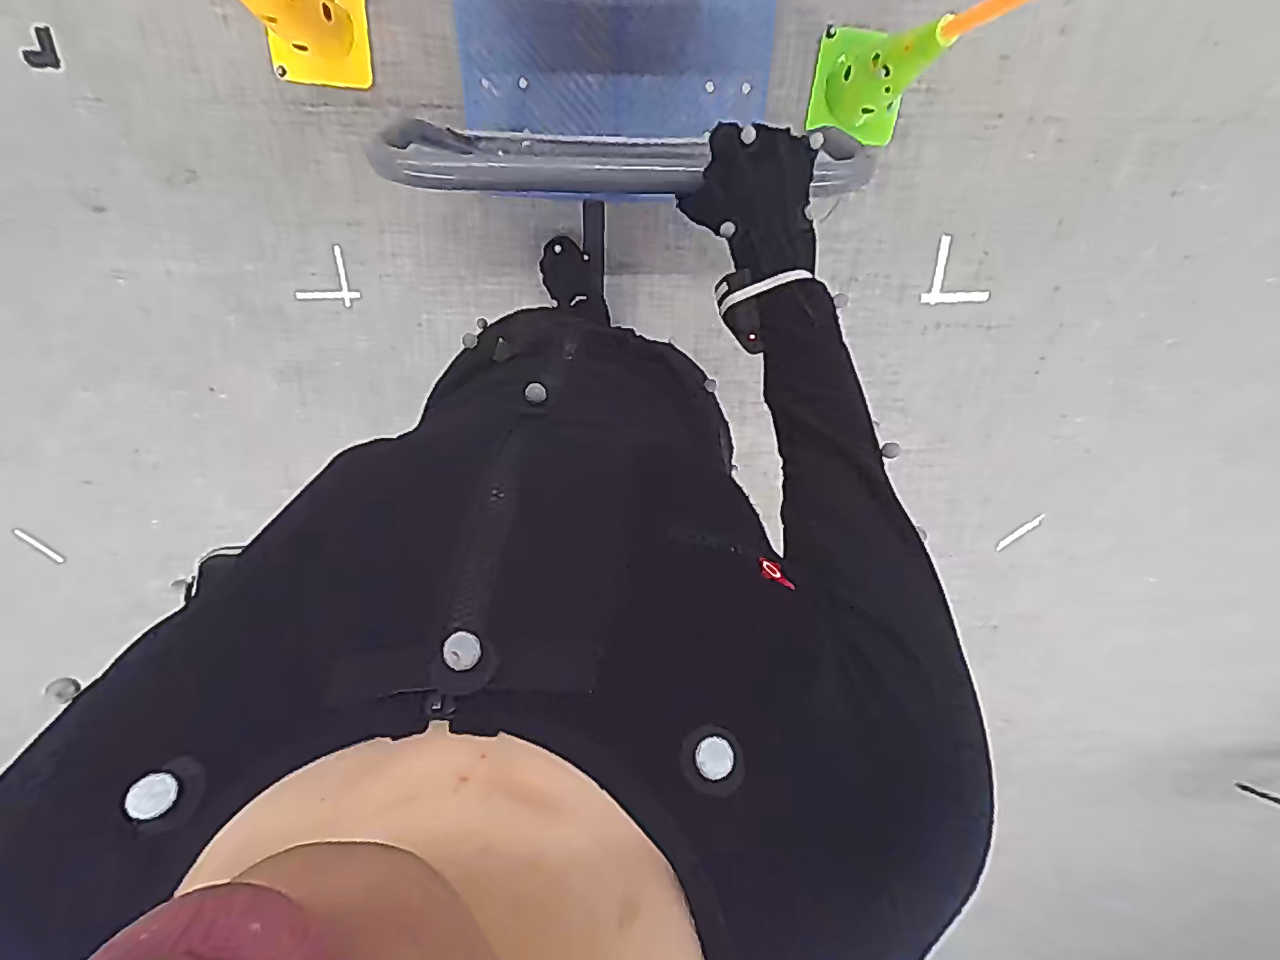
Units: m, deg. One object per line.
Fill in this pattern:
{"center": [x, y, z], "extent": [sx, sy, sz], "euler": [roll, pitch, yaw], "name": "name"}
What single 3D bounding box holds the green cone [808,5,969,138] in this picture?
{"center": [0.484, -0.793, 1.013], "extent": [0.202, 0.368, 0.200], "euler": [3, 114, -5], "name": "green cone"}
